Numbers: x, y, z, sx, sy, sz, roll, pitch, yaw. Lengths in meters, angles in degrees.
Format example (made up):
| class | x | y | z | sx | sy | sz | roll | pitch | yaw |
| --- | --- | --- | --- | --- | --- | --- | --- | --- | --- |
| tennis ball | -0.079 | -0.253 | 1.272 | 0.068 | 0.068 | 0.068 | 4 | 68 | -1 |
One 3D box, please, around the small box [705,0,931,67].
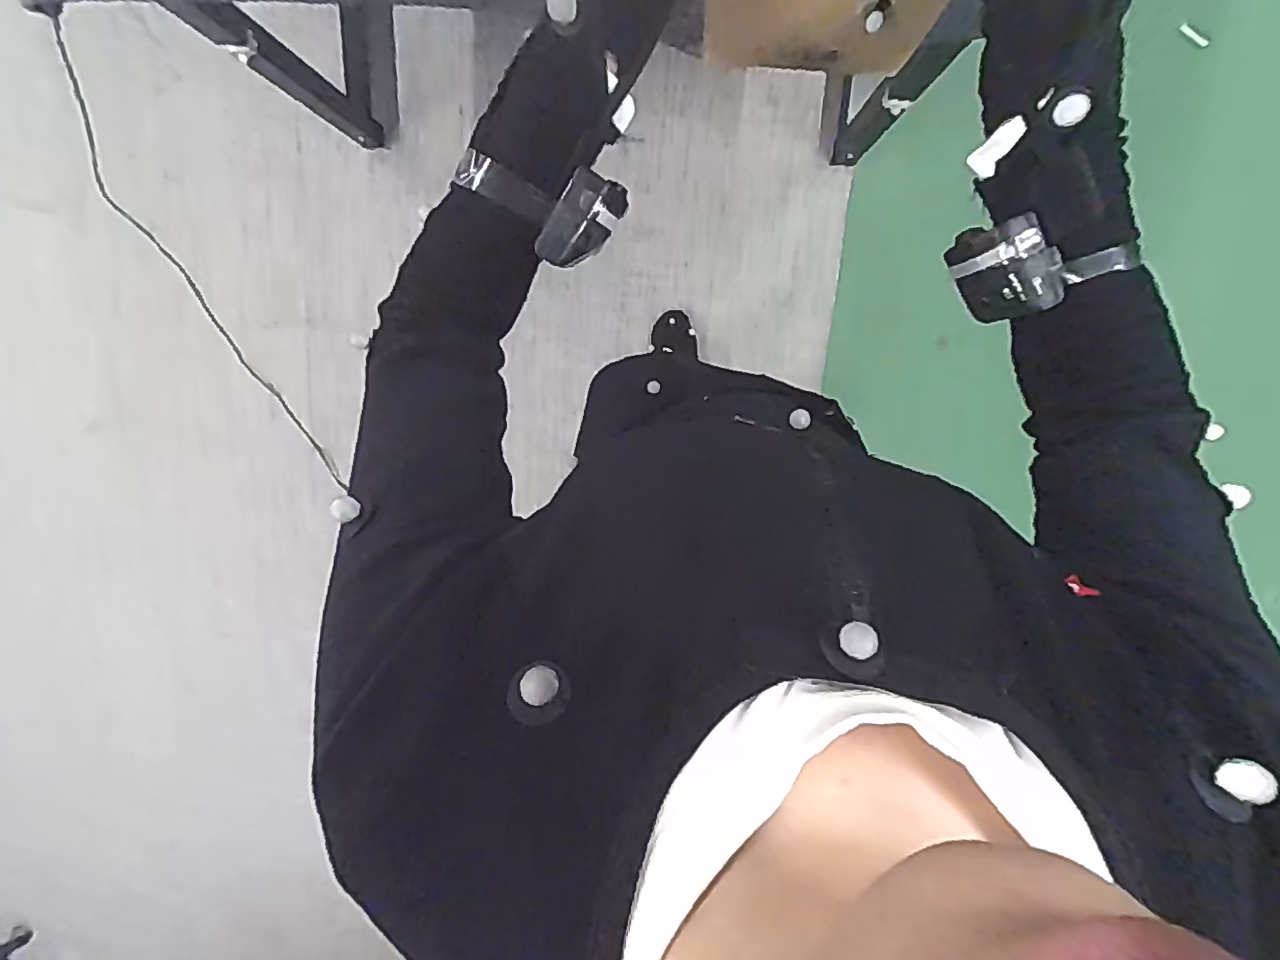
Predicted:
| class | x | y | z | sx | sy | sz | roll | pitch | yaw |
| --- | --- | --- | --- | --- | --- | --- | --- | --- | --- |
| small box | 0.139 | -0.427 | 0.373 | 0.168 | 0.176 | 0.179 | 5 | 101 | 1 |
